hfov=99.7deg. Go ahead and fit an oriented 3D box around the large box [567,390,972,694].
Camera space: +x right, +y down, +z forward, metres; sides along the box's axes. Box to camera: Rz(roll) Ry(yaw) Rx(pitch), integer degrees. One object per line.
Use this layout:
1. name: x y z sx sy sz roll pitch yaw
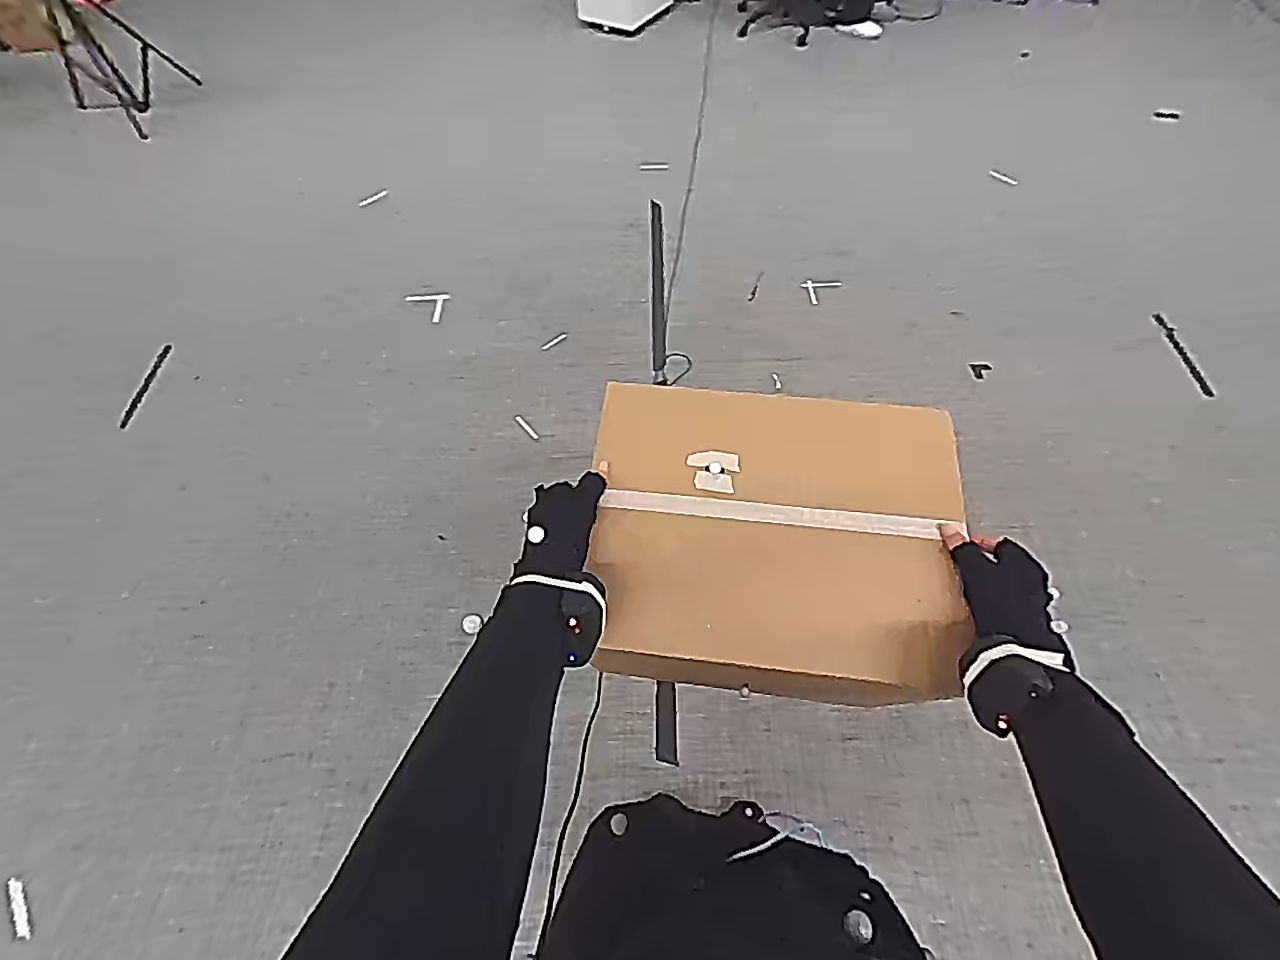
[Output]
1. large box: 0.148 0.101 0.727 0.408 0.320 0.320 5 65 6
